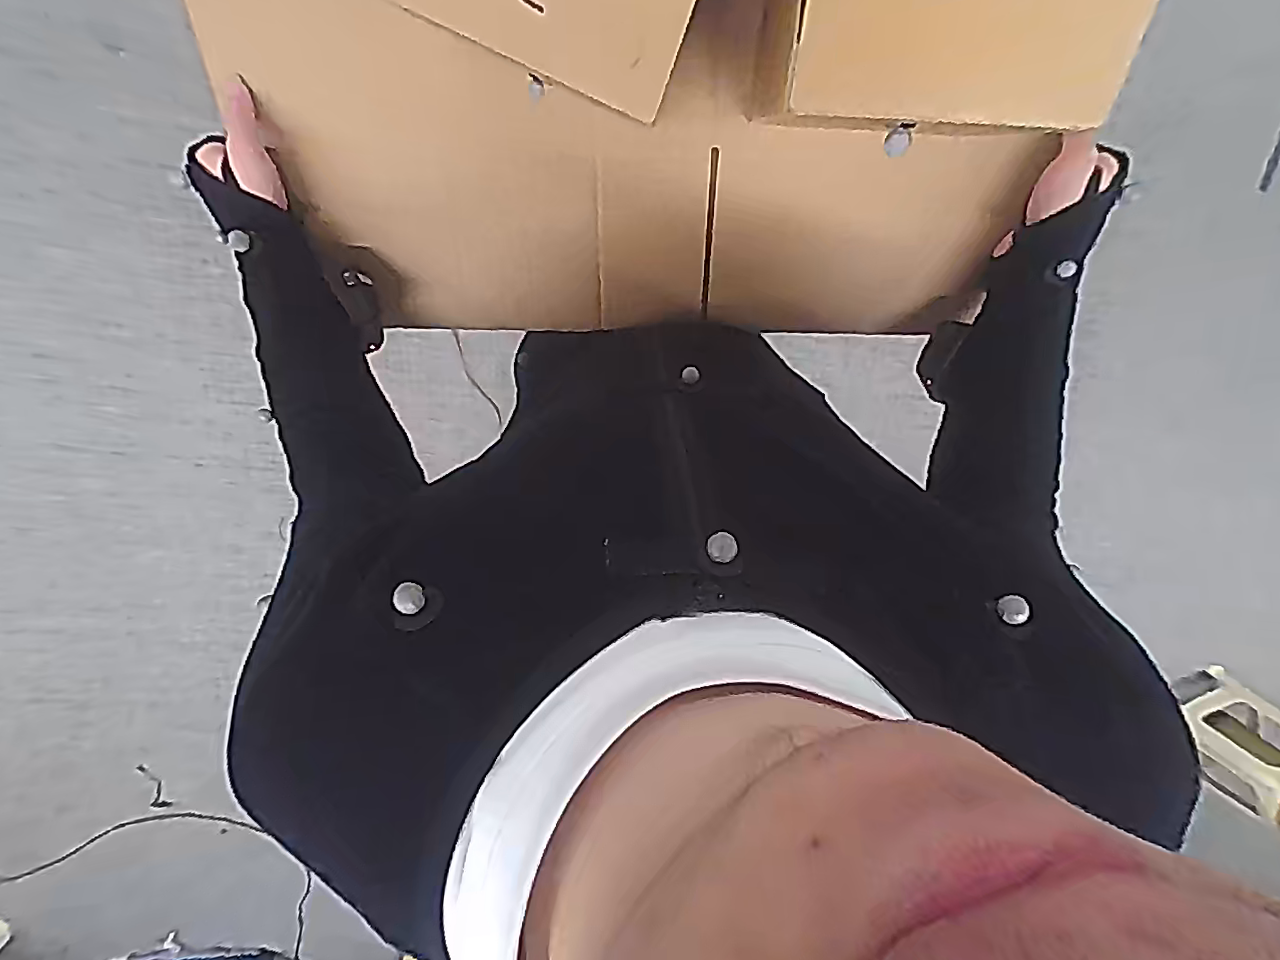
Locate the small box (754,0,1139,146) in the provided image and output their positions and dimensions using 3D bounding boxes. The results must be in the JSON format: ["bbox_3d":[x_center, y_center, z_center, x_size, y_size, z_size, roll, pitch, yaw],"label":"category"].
[{"bbox_3d":[0.180,-0.314,0.340,0.179,0.176,0.168,4,122,1],"label":"small box"}]
